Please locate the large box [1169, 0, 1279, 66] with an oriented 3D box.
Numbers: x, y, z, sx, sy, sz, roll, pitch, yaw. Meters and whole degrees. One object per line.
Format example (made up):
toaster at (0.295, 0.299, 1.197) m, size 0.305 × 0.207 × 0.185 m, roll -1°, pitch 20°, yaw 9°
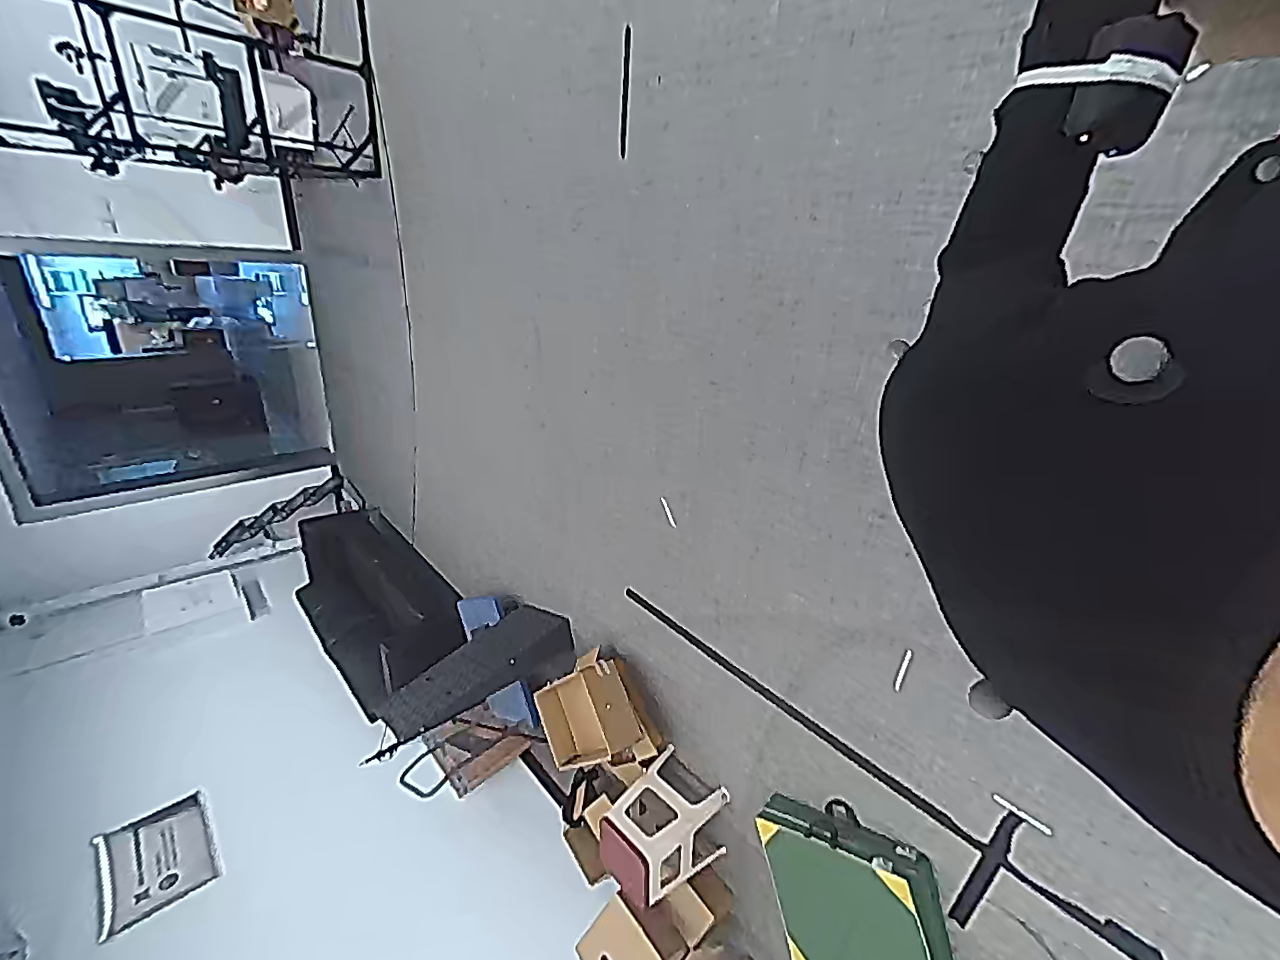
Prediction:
large box at (0.580, -0.433, 0.249) m, size 0.408 × 0.320 × 0.320 m, roll 26°, pitch 128°, yaw 40°
